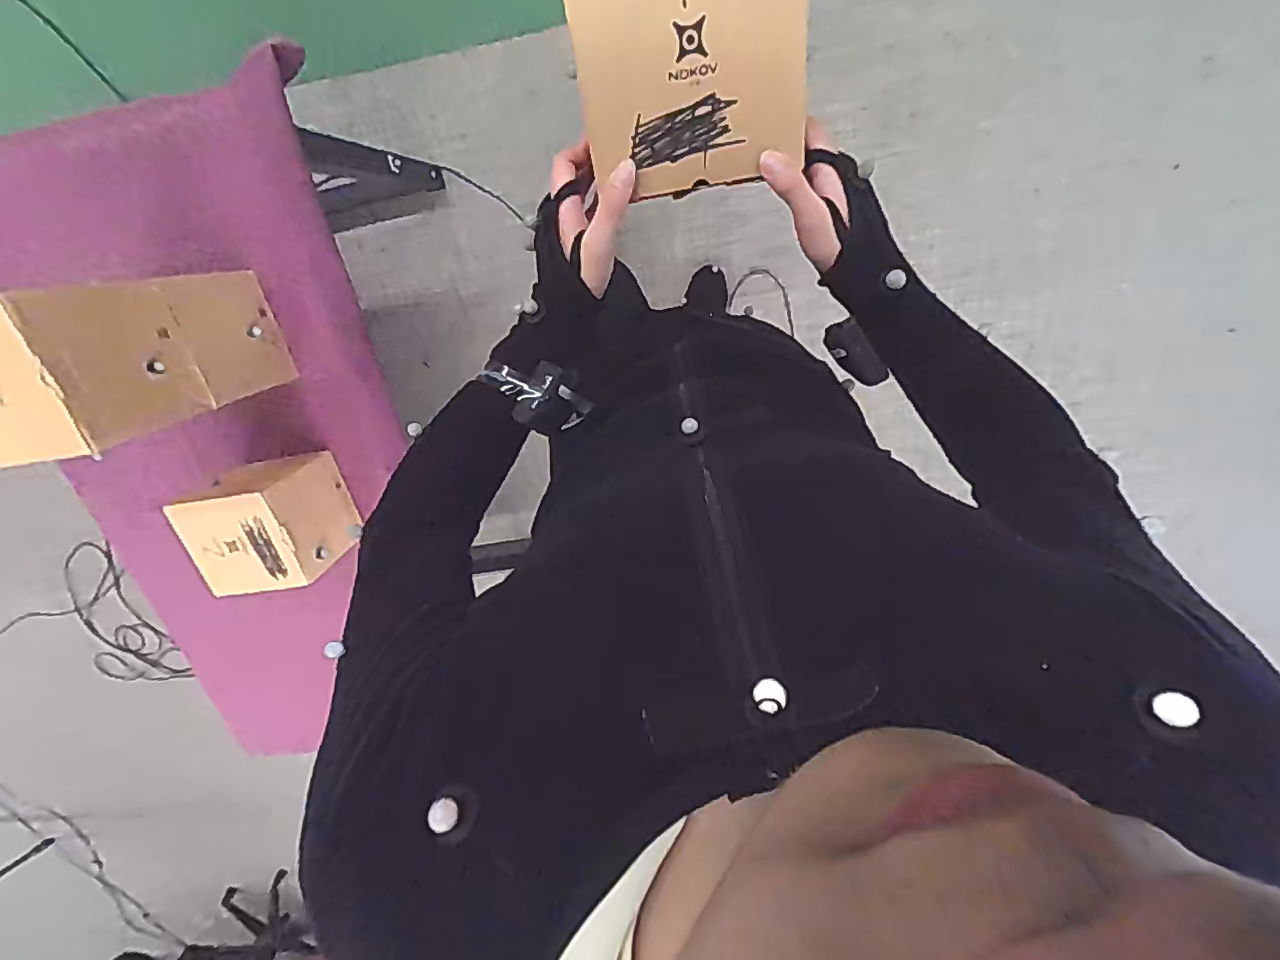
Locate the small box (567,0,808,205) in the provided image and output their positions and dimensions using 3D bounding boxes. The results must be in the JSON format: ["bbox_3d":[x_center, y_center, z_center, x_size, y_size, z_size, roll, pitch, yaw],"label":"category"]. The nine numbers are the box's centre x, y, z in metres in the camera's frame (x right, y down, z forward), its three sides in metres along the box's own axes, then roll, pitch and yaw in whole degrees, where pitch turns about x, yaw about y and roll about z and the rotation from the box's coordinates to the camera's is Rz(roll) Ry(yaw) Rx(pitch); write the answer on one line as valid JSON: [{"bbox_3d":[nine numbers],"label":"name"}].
[{"bbox_3d":[0.037,-0.349,0.450,0.168,0.176,0.179,-7,125,5],"label":"small box"}]

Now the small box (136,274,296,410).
[{"bbox_3d":[-0.652,-0.194,0.778,0.179,0.176,0.168,-7,114,8],"label":"small box"}]

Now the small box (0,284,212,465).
[{"bbox_3d":[-0.668,-0.126,0.631,0.179,0.176,0.168,-8,113,8],"label":"small box"}]
